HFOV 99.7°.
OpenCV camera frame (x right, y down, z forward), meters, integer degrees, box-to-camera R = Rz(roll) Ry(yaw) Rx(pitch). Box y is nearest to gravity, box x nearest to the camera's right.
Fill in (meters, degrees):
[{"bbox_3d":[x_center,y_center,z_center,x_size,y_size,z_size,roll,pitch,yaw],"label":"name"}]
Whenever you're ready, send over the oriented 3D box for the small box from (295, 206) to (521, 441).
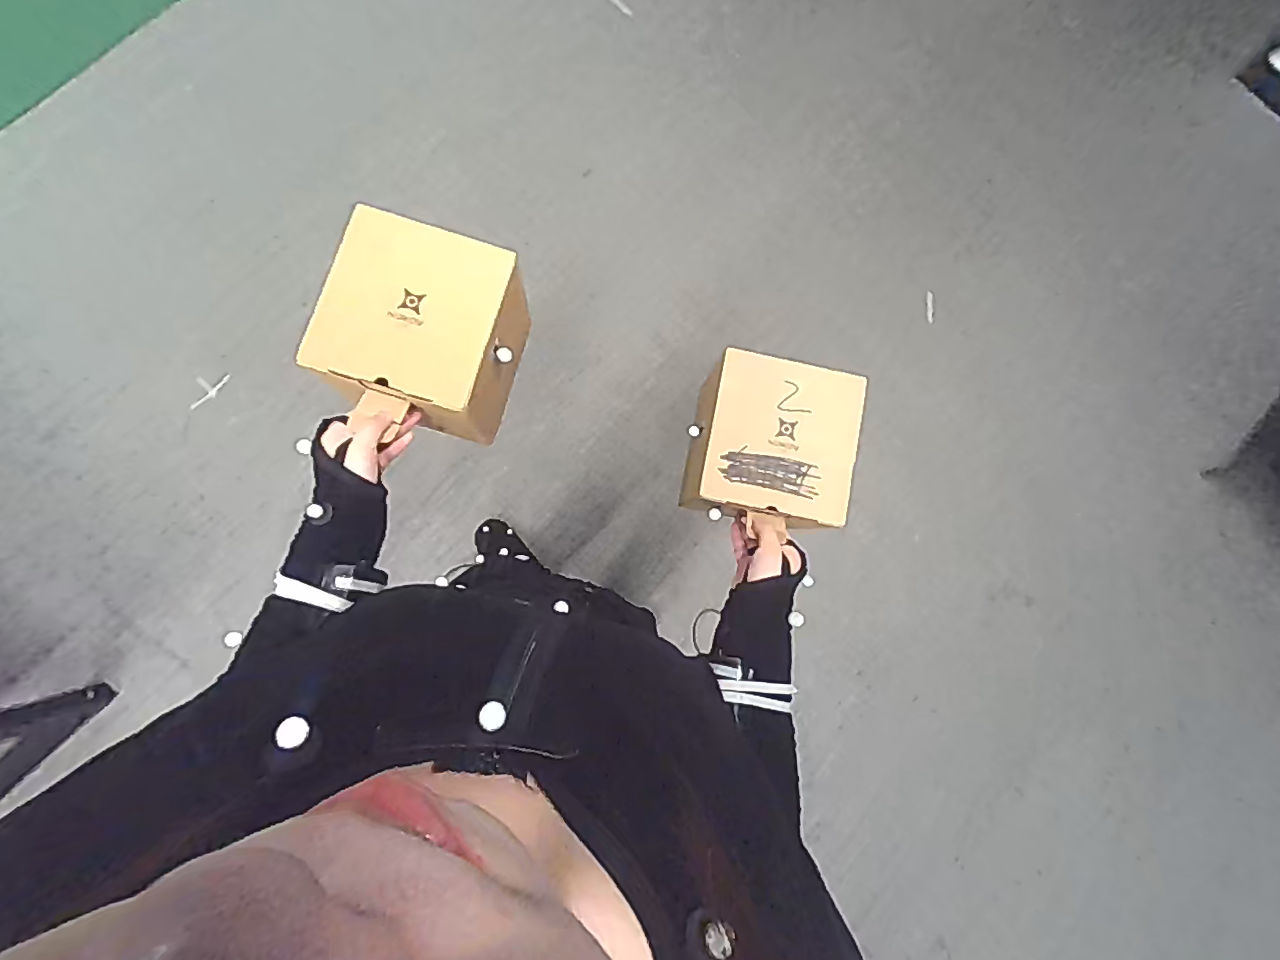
[{"bbox_3d":[-0.238,-0.159,0.609,0.168,0.176,0.179,16,82,-4],"label":"small box"}]
